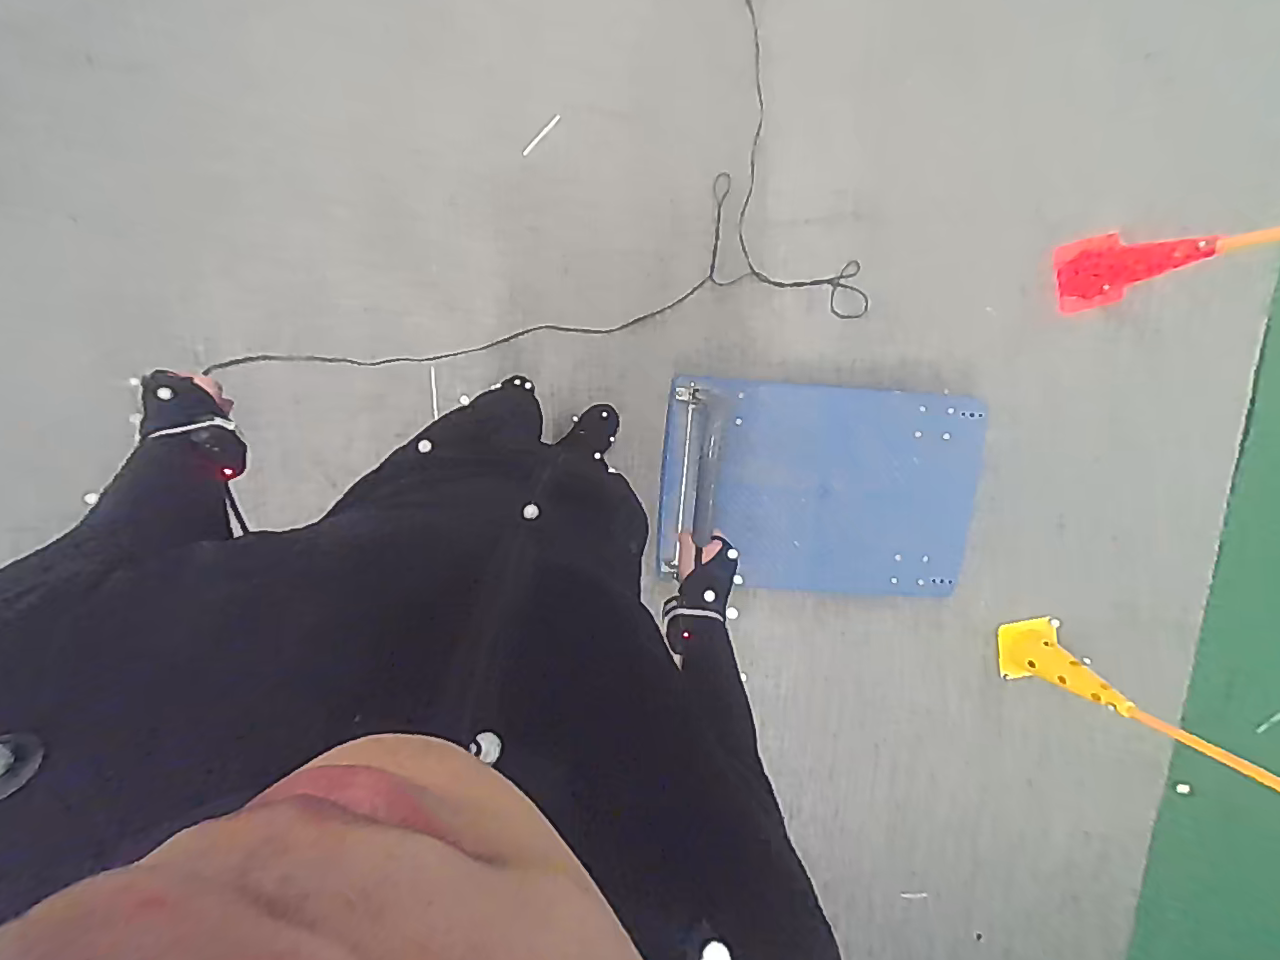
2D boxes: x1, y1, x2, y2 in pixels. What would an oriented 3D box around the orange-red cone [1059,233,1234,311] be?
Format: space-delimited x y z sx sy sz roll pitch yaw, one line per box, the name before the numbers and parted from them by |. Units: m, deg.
orange-red cone | 1.338 -0.581 1.418 0.198 0.360 0.199 -13 100 -2
